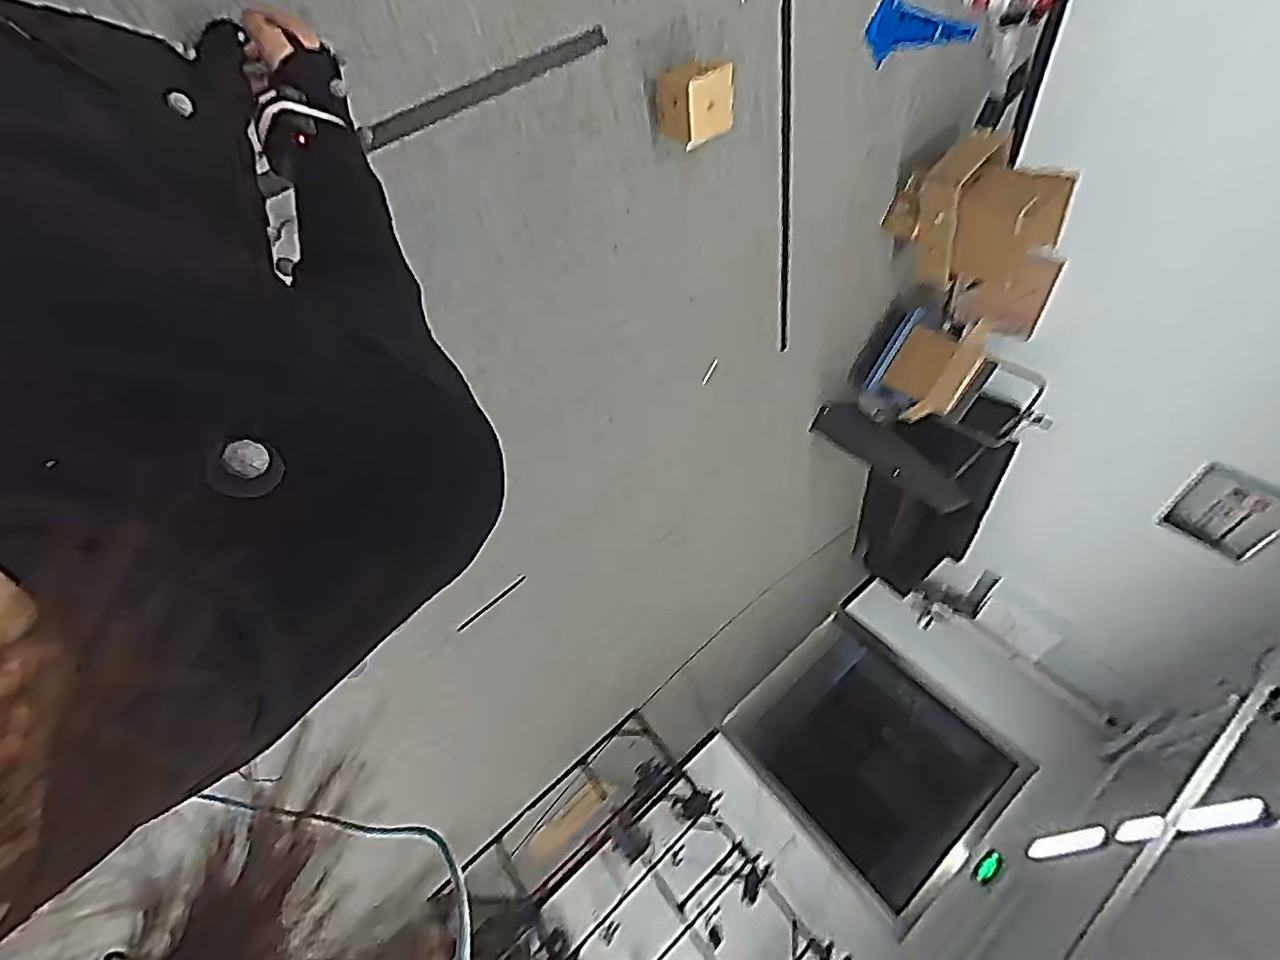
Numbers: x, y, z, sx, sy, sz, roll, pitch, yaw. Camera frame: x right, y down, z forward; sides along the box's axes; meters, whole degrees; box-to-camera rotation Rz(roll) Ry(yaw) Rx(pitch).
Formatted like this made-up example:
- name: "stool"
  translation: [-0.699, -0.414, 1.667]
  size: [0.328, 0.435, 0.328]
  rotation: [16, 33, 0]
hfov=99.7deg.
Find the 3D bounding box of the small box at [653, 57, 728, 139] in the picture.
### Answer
- name: "small box"
  translation: [0.155, -1.197, 1.690]
  size: [0.179, 0.176, 0.168]
  rotation: [-36, 143, -18]
